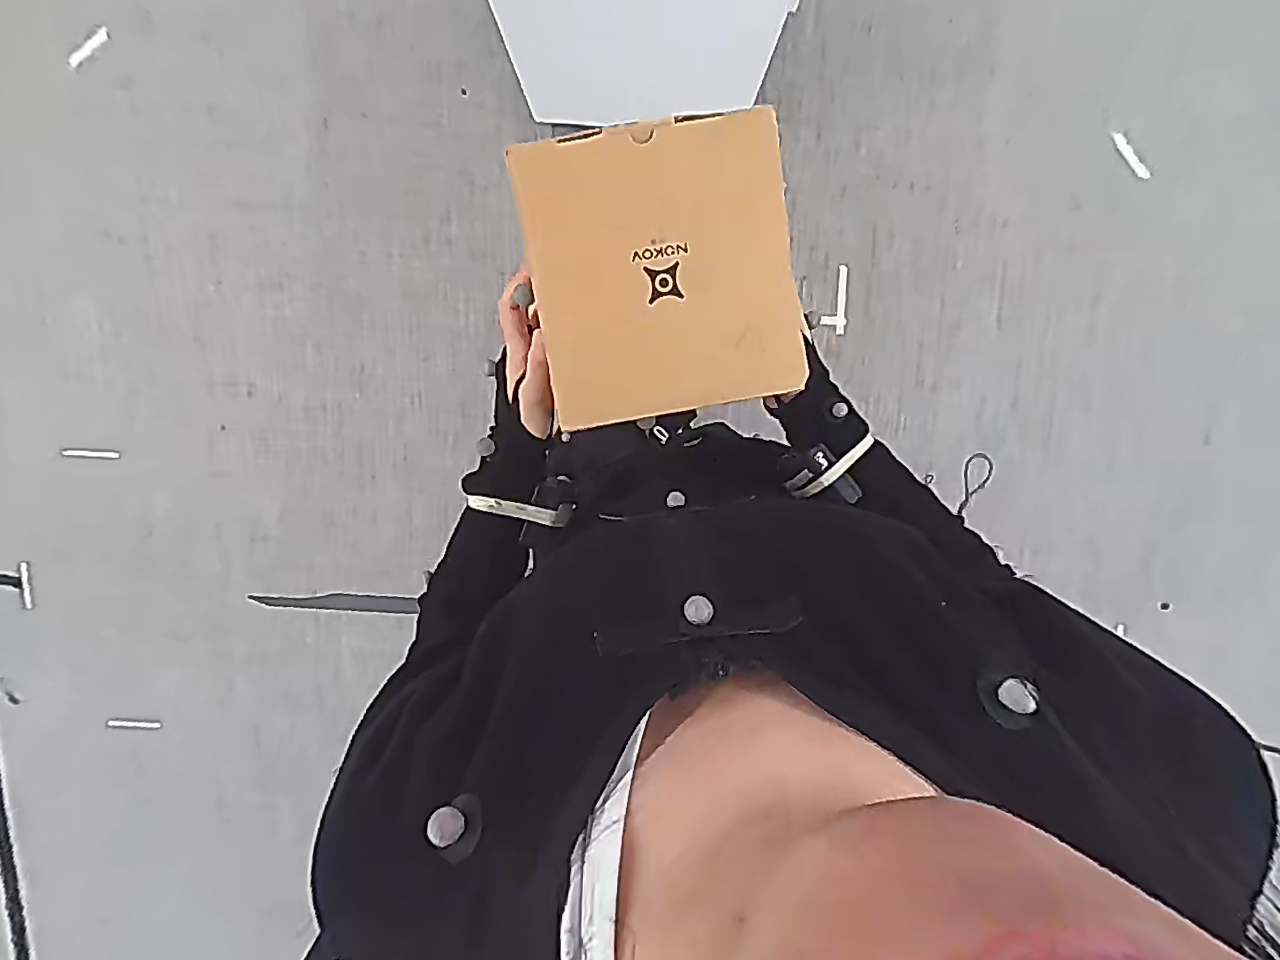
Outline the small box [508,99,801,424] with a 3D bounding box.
[{"bbox_3d":[0.010,-0.148,0.420,0.168,0.176,0.179,-11,100,-1],"label":"small box"}]
